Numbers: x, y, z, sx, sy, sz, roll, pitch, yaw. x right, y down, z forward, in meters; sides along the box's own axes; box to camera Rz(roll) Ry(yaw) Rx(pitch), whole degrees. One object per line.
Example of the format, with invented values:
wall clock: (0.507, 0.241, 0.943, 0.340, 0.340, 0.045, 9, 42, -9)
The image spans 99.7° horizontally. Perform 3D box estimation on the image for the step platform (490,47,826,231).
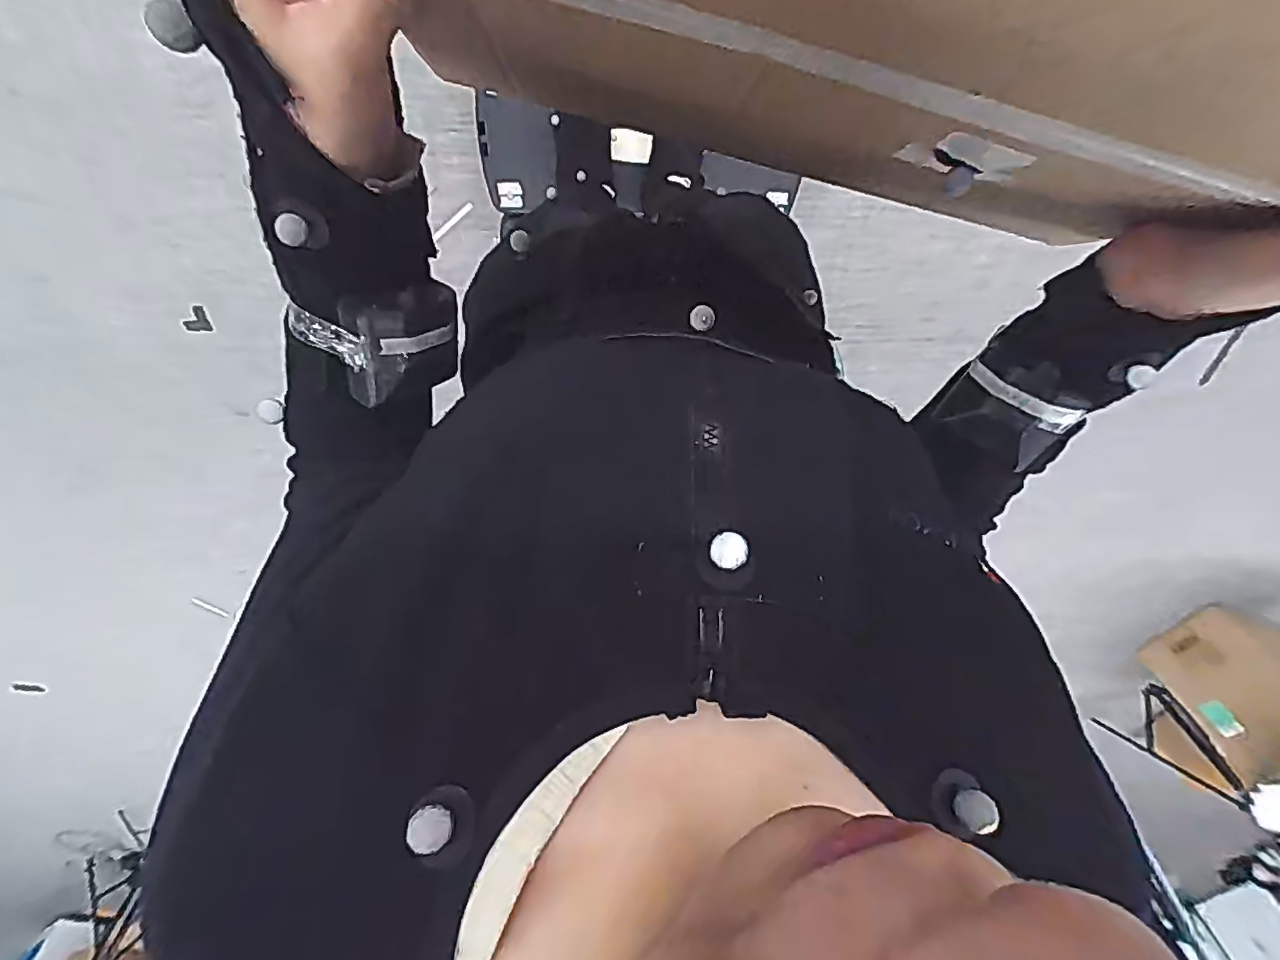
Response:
step platform: (0.038, -0.724, 1.133, 0.684, 0.204, 0.286, 4, 128, -8)
